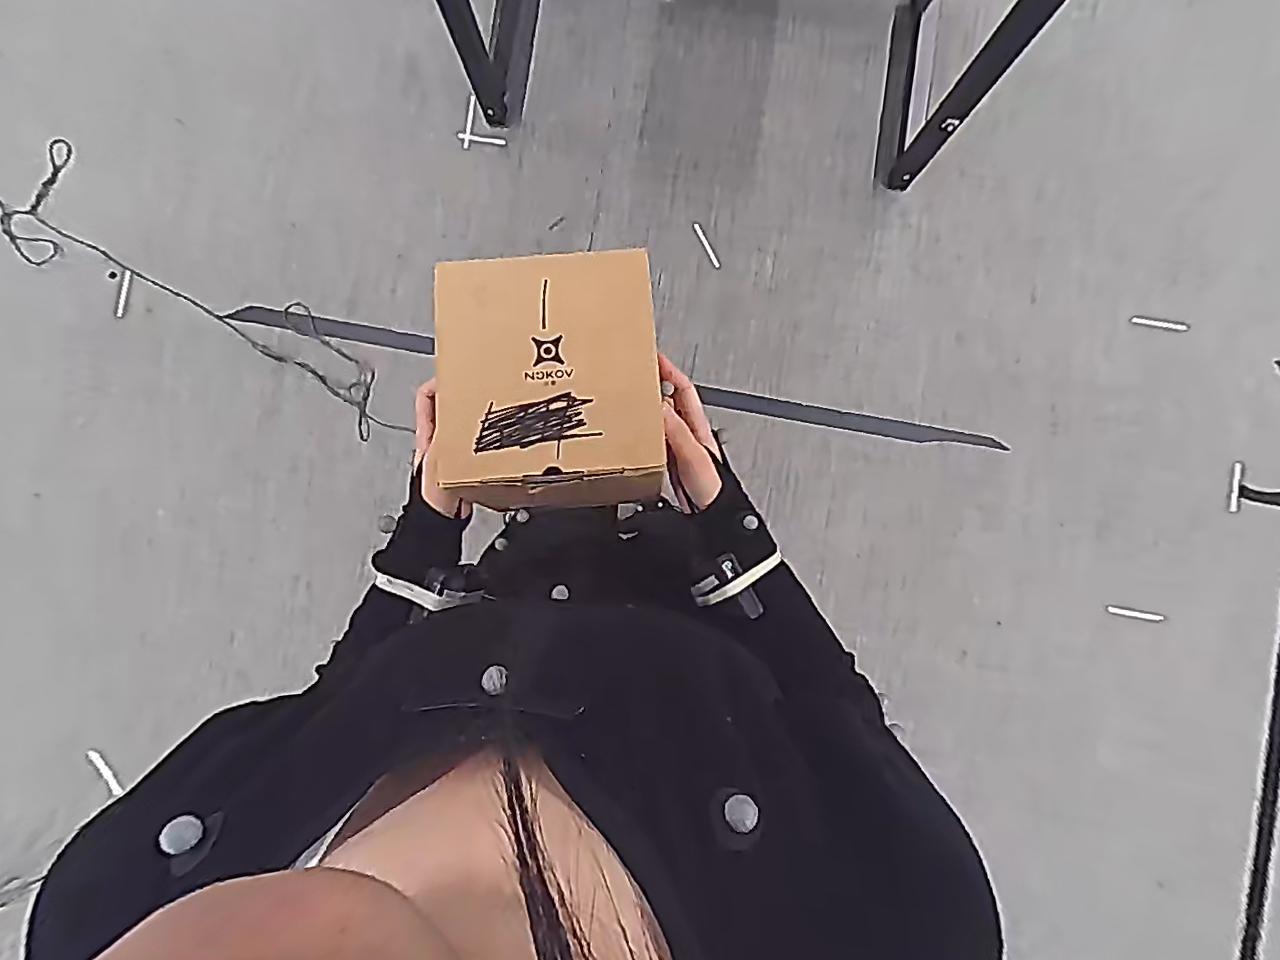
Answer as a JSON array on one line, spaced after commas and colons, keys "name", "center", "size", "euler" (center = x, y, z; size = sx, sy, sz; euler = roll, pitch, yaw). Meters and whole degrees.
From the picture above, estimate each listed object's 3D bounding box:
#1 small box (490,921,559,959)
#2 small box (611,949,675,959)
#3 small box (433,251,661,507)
[{"name": "small box", "center": [-0.310, 1.285, 1.374], "size": [0.168, 0.176, 0.179], "euler": [12, 88, -1]}, {"name": "small box", "center": [0.014, 1.345, 1.376], "size": [0.179, 0.176, 0.168], "euler": [-3, 88, -1]}, {"name": "small box", "center": [-0.070, -0.072, 0.476], "size": [0.168, 0.176, 0.179], "euler": [-4, 79, -2]}]
